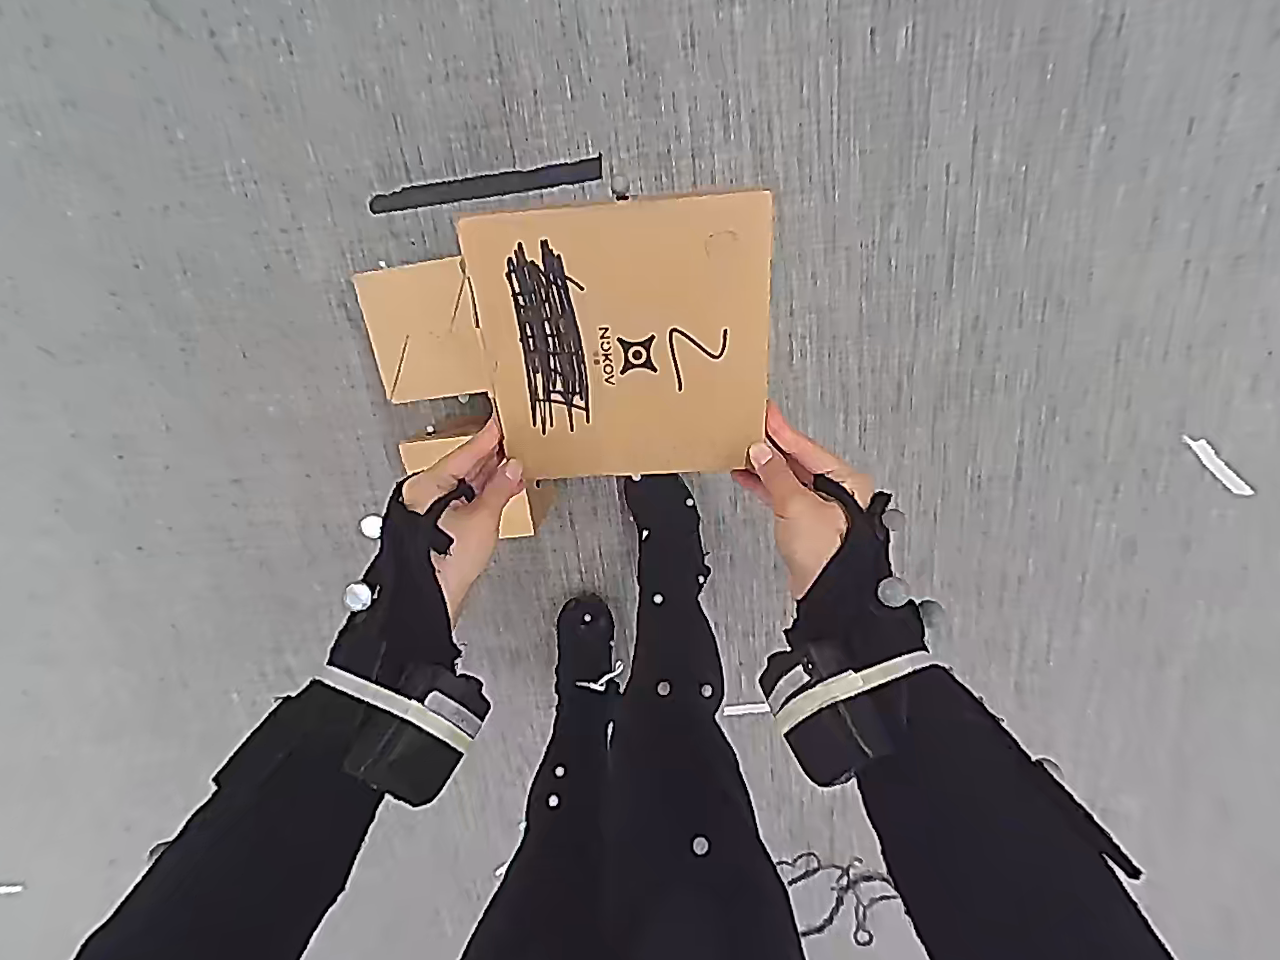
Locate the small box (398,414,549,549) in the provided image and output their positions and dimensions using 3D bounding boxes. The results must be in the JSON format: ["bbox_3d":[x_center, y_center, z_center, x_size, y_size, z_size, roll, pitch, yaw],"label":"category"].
[{"bbox_3d":[-0.252,-0.004,0.872,0.179,0.176,0.168,-6,108,6],"label":"small box"}]

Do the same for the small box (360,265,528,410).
[{"bbox_3d":[-0.281,-0.214,0.800,0.168,0.176,0.179,-7,108,6],"label":"small box"}]
